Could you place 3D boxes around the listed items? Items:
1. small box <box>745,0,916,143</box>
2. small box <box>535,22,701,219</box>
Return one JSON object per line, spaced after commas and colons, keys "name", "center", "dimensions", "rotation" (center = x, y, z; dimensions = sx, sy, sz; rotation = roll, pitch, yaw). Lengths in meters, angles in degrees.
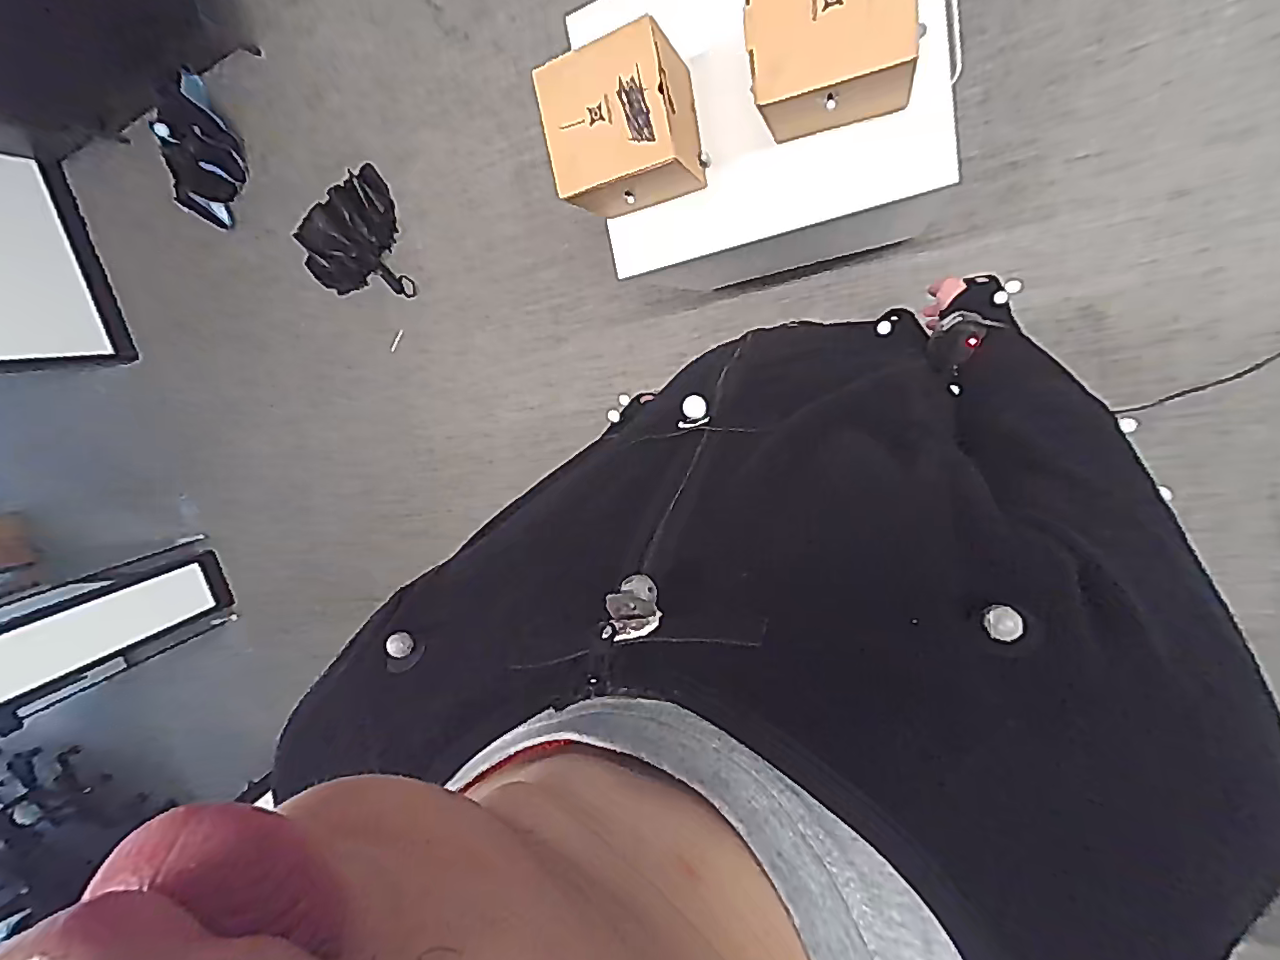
{"name": "small box", "center": [0.234, -0.540, 0.660], "dimensions": [0.179, 0.176, 0.168], "rotation": [-2, 106, 23]}
{"name": "small box", "center": [-0.018, -0.494, 0.777], "dimensions": [0.179, 0.176, 0.168], "rotation": [-6, 103, 24]}
